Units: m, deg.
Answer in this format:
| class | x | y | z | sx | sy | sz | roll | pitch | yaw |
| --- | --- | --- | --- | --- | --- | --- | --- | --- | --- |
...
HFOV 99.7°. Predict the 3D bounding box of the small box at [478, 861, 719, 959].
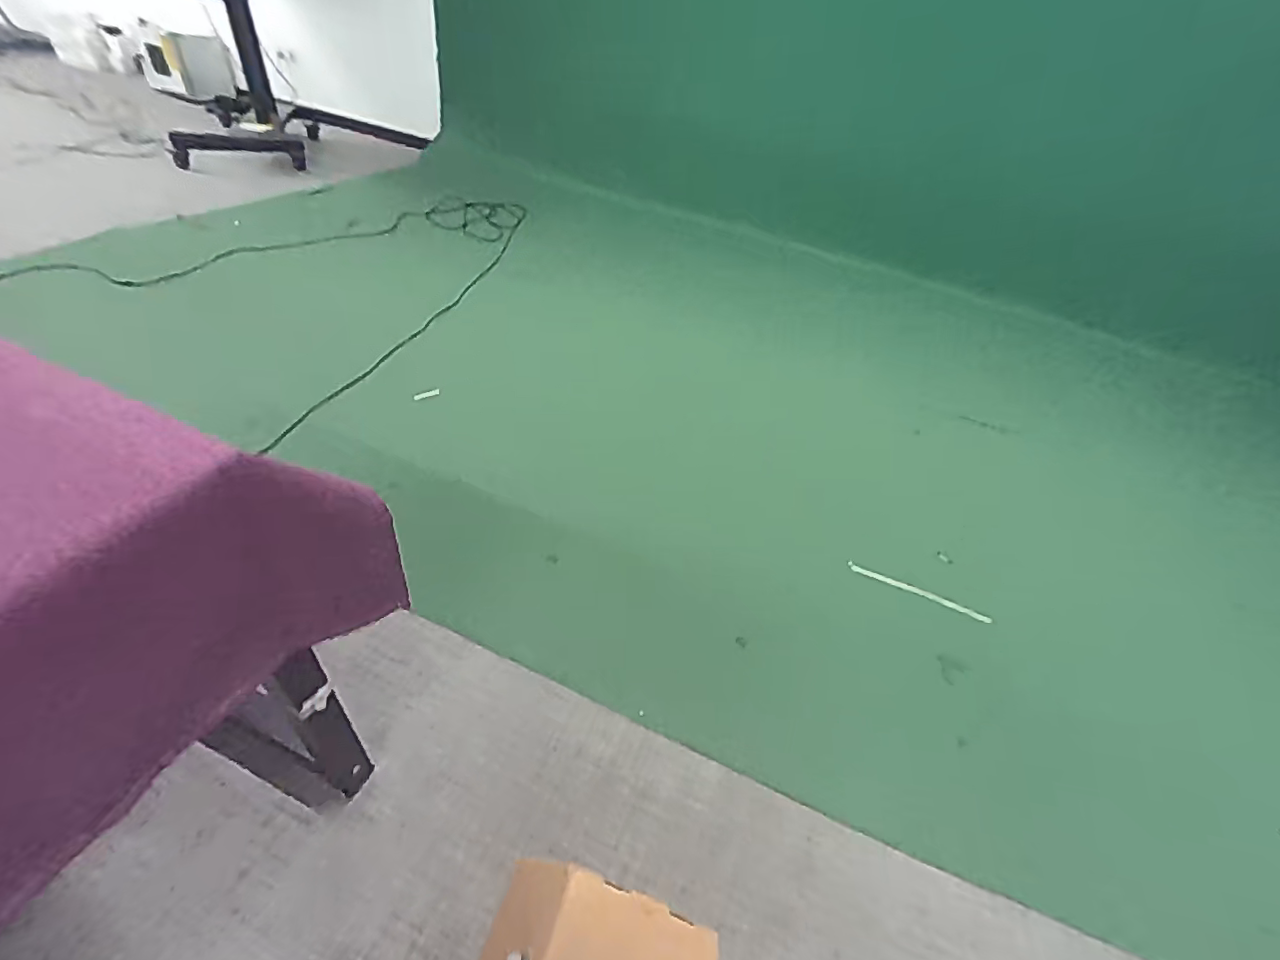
| class | x | y | z | sx | sy | sz | roll | pitch | yaw |
| --- | --- | --- | --- | --- | --- | --- | --- | --- | --- |
| small box | -0.057 | 0.485 | 0.500 | 0.168 | 0.176 | 0.179 | 34 | 48 | -11 |
